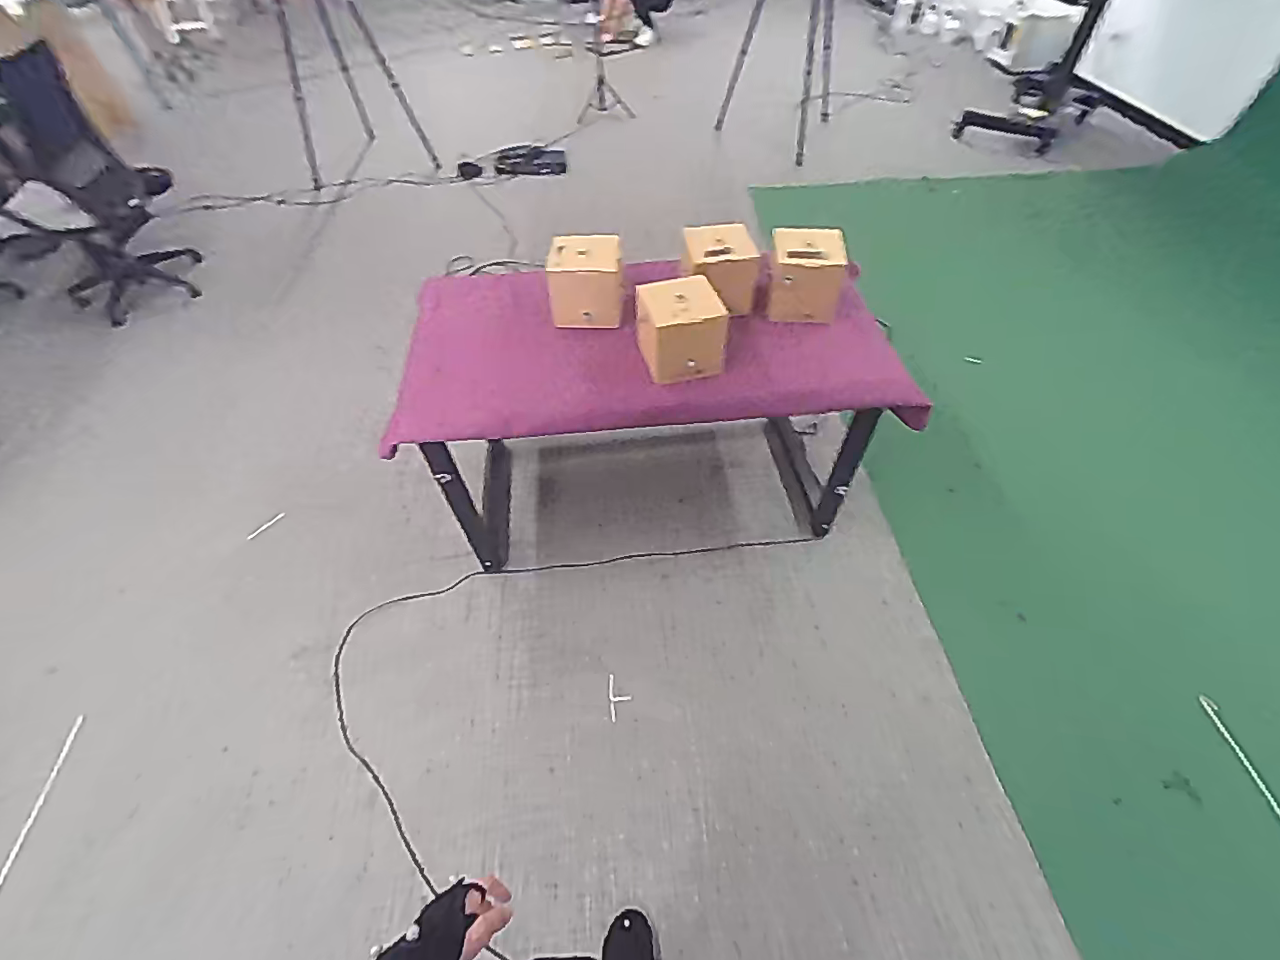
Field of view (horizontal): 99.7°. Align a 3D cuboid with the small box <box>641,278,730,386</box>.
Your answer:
[{"bbox_3d":[0.101,-0.351,1.287,0.168,0.176,0.179,-12,51,-7],"label":"small box"}]

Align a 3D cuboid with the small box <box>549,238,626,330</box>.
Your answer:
[{"bbox_3d":[-0.130,-0.511,1.422,0.179,0.176,0.168,2,52,3],"label":"small box"}]
